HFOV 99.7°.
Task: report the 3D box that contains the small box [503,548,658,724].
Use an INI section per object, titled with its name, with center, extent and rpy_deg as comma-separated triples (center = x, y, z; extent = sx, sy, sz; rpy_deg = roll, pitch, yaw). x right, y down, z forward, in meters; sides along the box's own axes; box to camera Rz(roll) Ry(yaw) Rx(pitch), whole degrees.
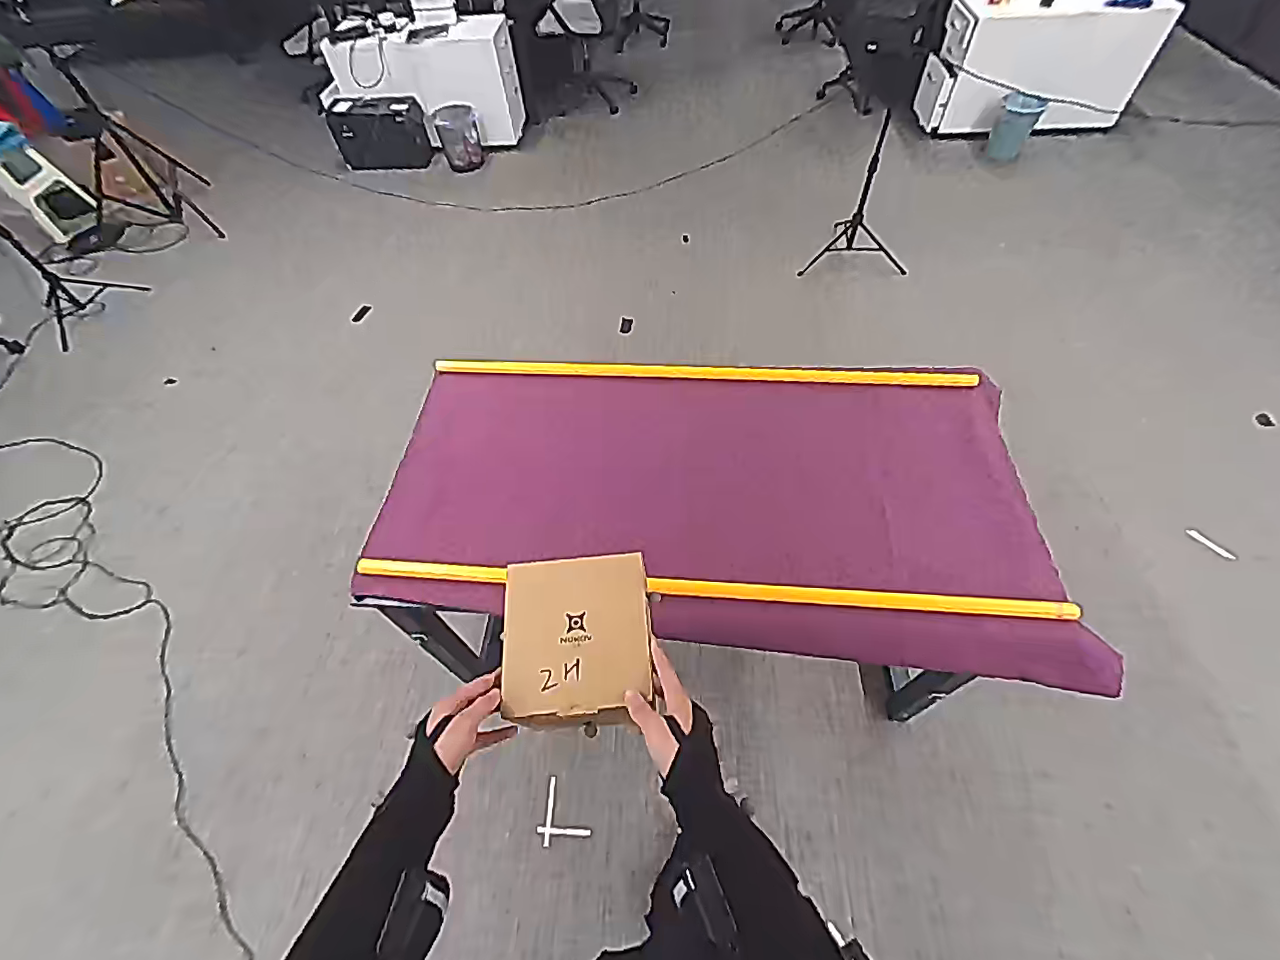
[small box]
center = -0.066, 0.203, 0.685
extent = 0.168, 0.176, 0.179
rpy_deg = -5, 61, 1
